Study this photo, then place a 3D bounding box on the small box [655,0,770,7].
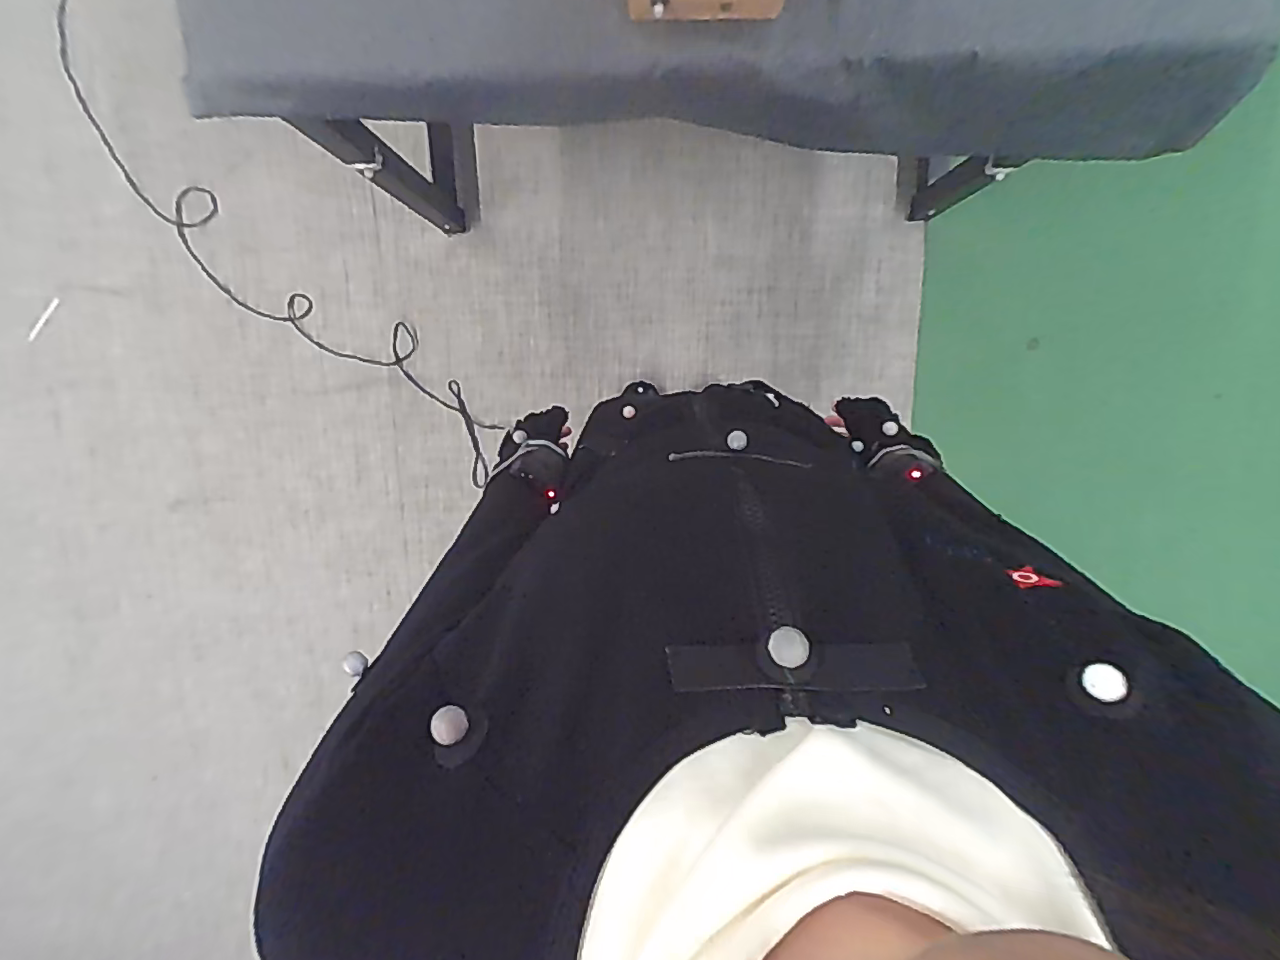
[{"bbox_3d":[0.068,-0.595,0.510,0.168,0.176,0.179,0,99,1],"label":"small box"}]
